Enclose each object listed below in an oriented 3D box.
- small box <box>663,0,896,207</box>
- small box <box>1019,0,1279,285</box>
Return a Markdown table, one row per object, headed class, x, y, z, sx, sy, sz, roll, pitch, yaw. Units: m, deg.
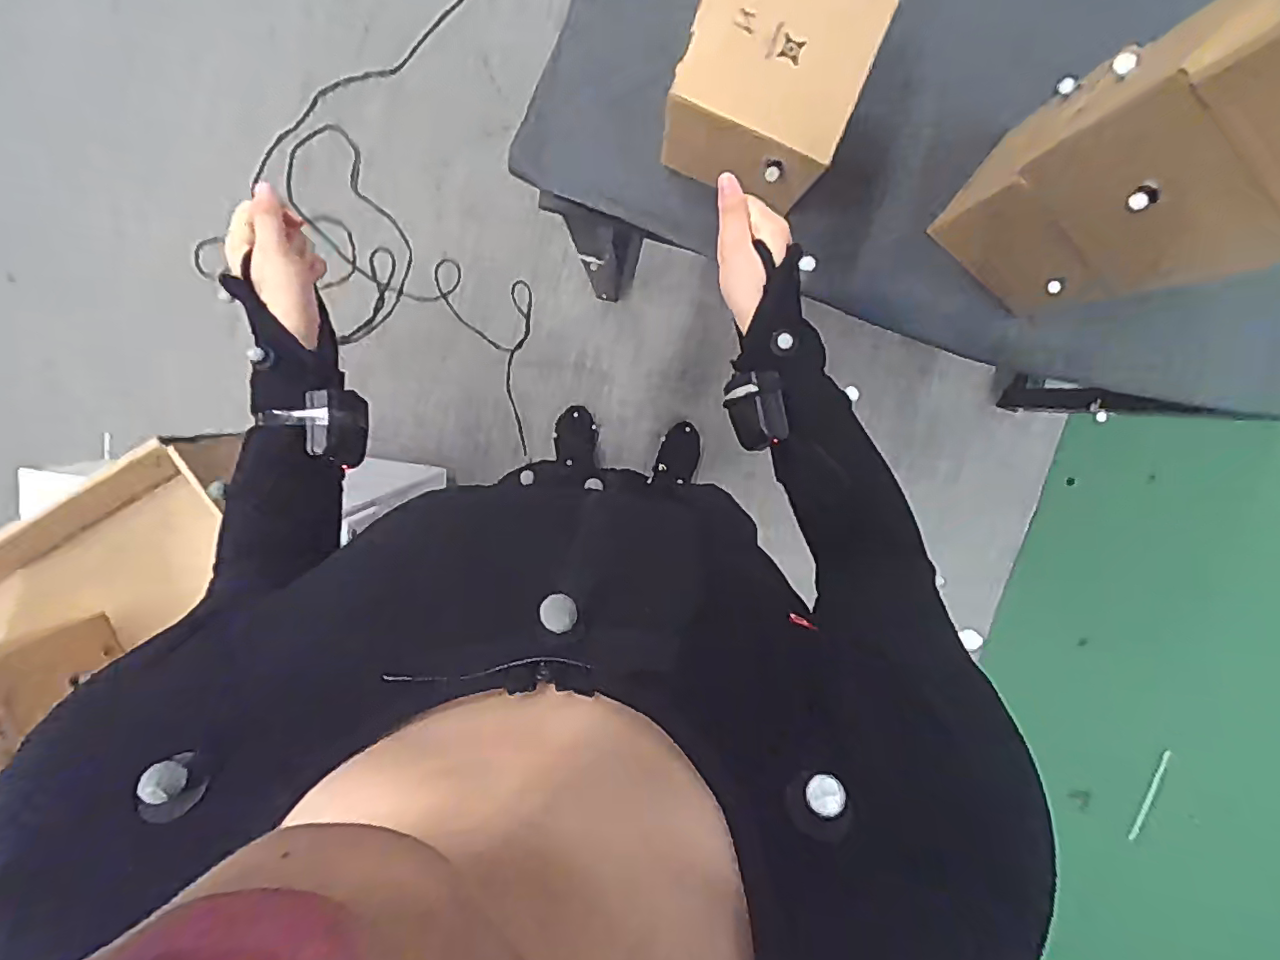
| class | x | y | z | sx | sy | sz | roll | pitch | yaw |
| --- | --- | --- | --- | --- | --- | --- | --- | --- | --- |
| small box | 0.137 | -0.433 | 0.603 | 0.179 | 0.176 | 0.168 | 22 | 99 | -4 |
| small box | 0.488 | -0.291 | 0.462 | 0.168 | 0.176 | 0.179 | -42 | 96 | 5 |
